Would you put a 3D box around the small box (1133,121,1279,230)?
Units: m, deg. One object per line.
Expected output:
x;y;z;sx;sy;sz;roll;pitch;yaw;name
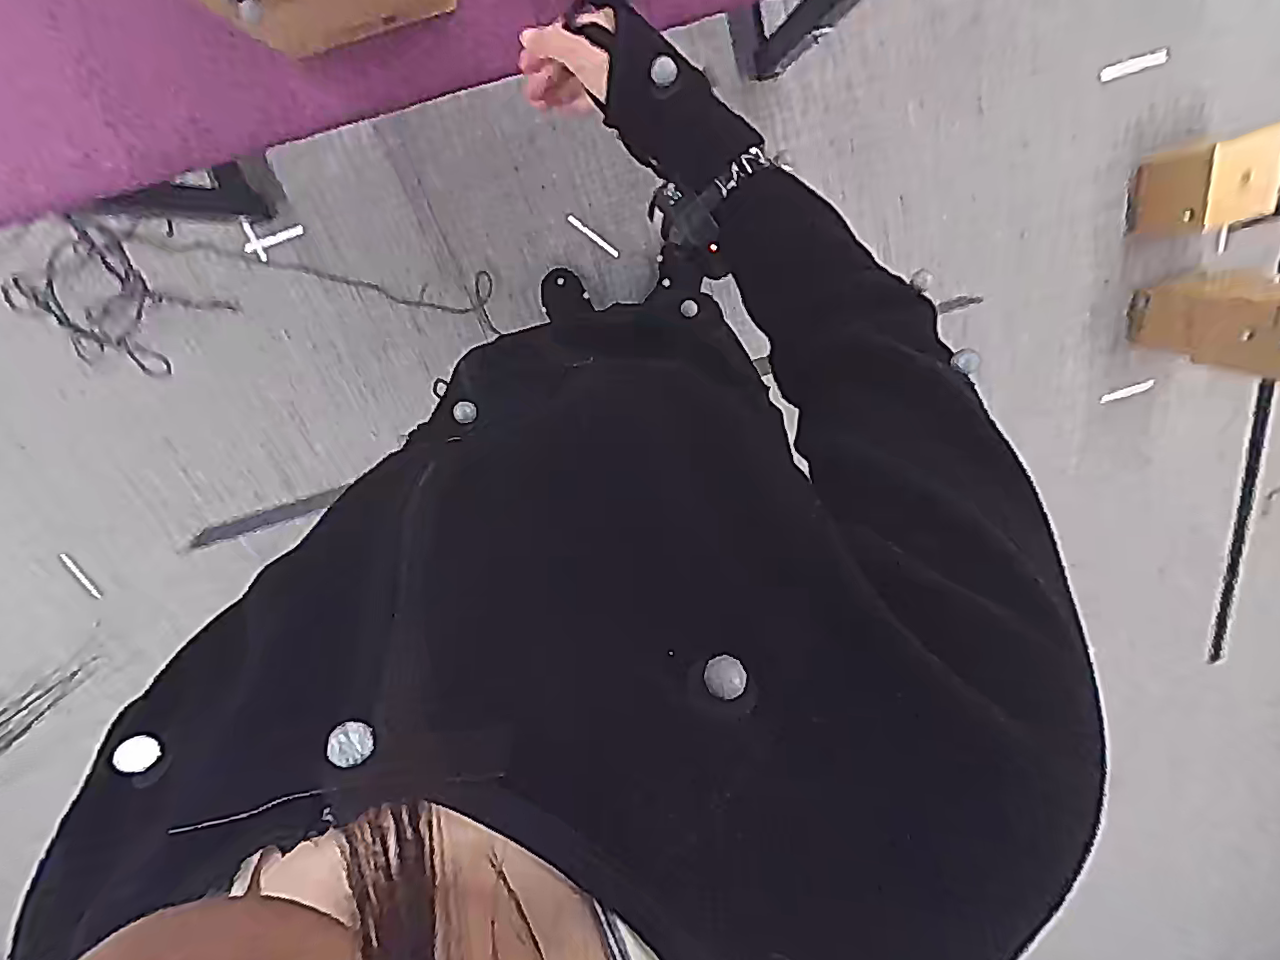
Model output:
1.297;-0.693;1.249;0.168;0.176;0.179;-17;115;1;small box

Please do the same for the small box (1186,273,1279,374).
1.407;-0.361;1.226;0.168;0.176;0.179;-16;115;2;small box

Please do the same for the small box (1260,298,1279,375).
1.419;-0.293;1.077;0.168;0.176;0.179;-13;116;0;small box

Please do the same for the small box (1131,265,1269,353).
1.406;-0.437;1.373;0.179;0.176;0.168;-18;115;2;small box
